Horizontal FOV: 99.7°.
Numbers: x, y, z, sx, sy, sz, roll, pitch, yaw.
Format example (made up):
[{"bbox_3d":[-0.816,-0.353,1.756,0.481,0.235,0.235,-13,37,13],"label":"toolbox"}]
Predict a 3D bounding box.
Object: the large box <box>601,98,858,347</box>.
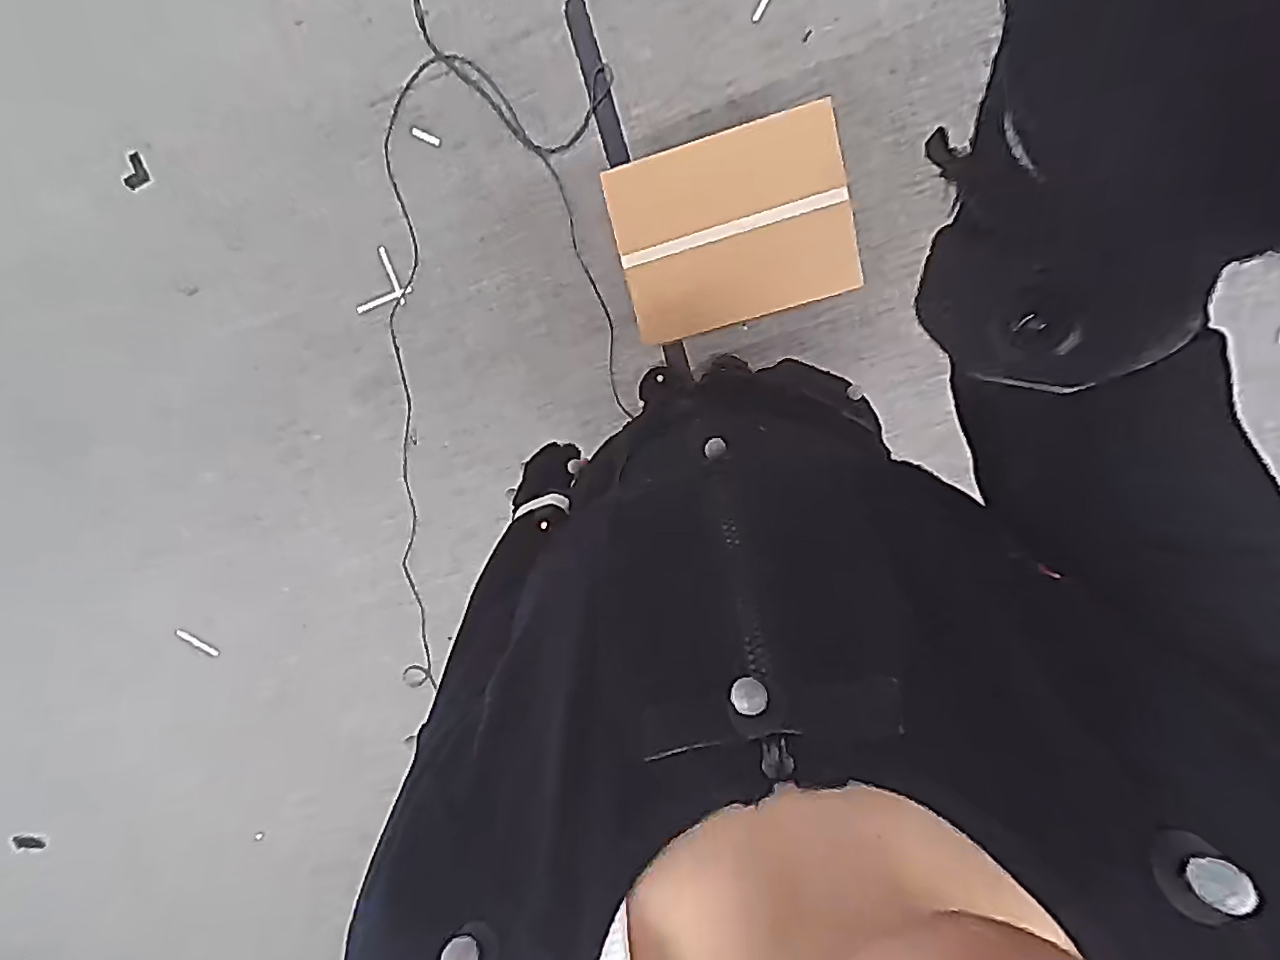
[{"bbox_3d":[0.171,-0.478,1.102,0.408,0.320,0.320,-14,103,8],"label":"large box"}]
